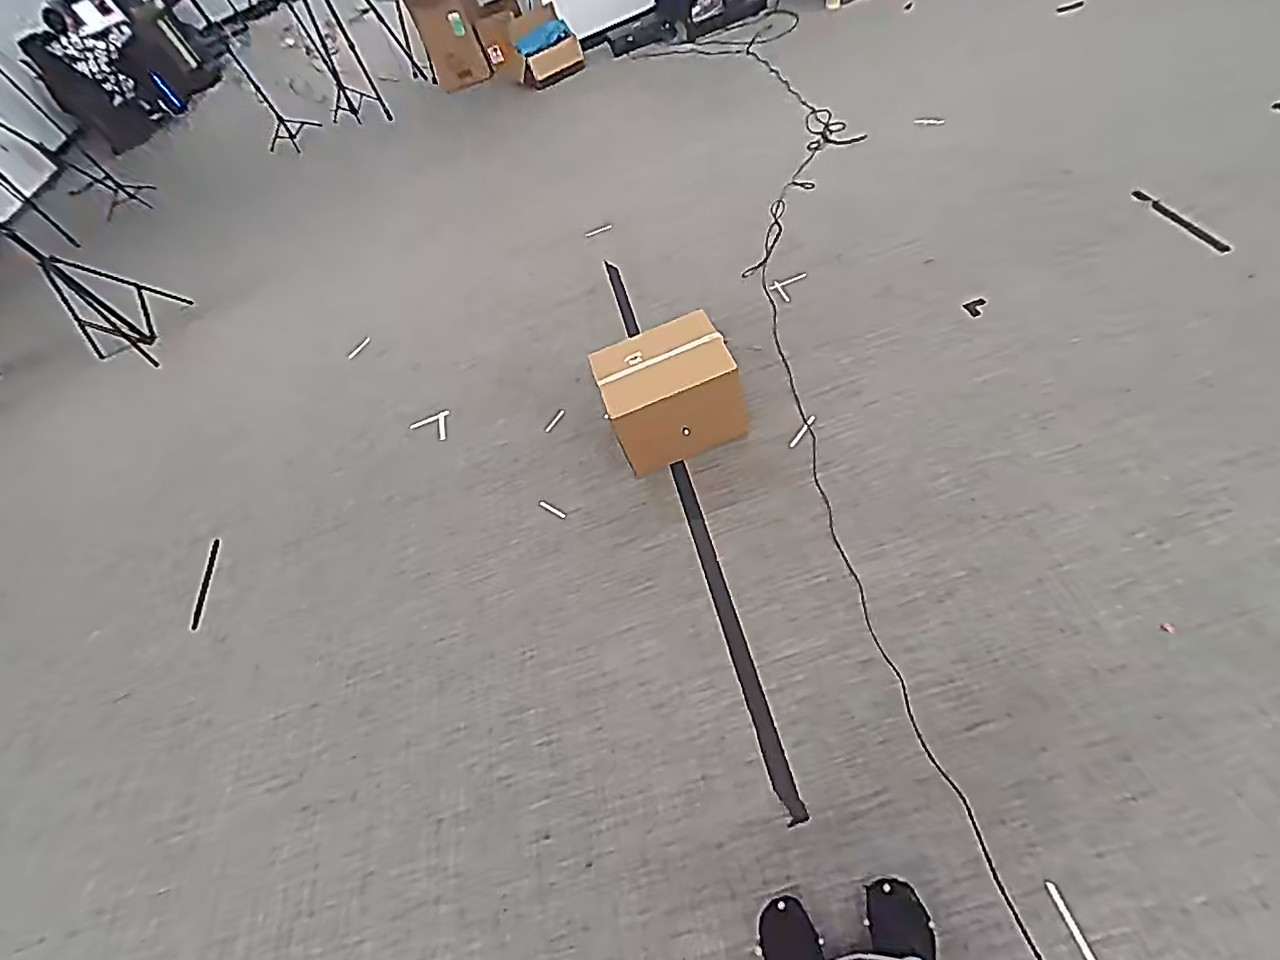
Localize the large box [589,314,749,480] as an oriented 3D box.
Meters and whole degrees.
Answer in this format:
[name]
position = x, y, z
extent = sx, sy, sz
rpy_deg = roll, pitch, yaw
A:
[large box]
position = 0.098, -0.264, 1.771
extent = 0.408, 0.320, 0.320
rpy_deg = -23, 51, 4
